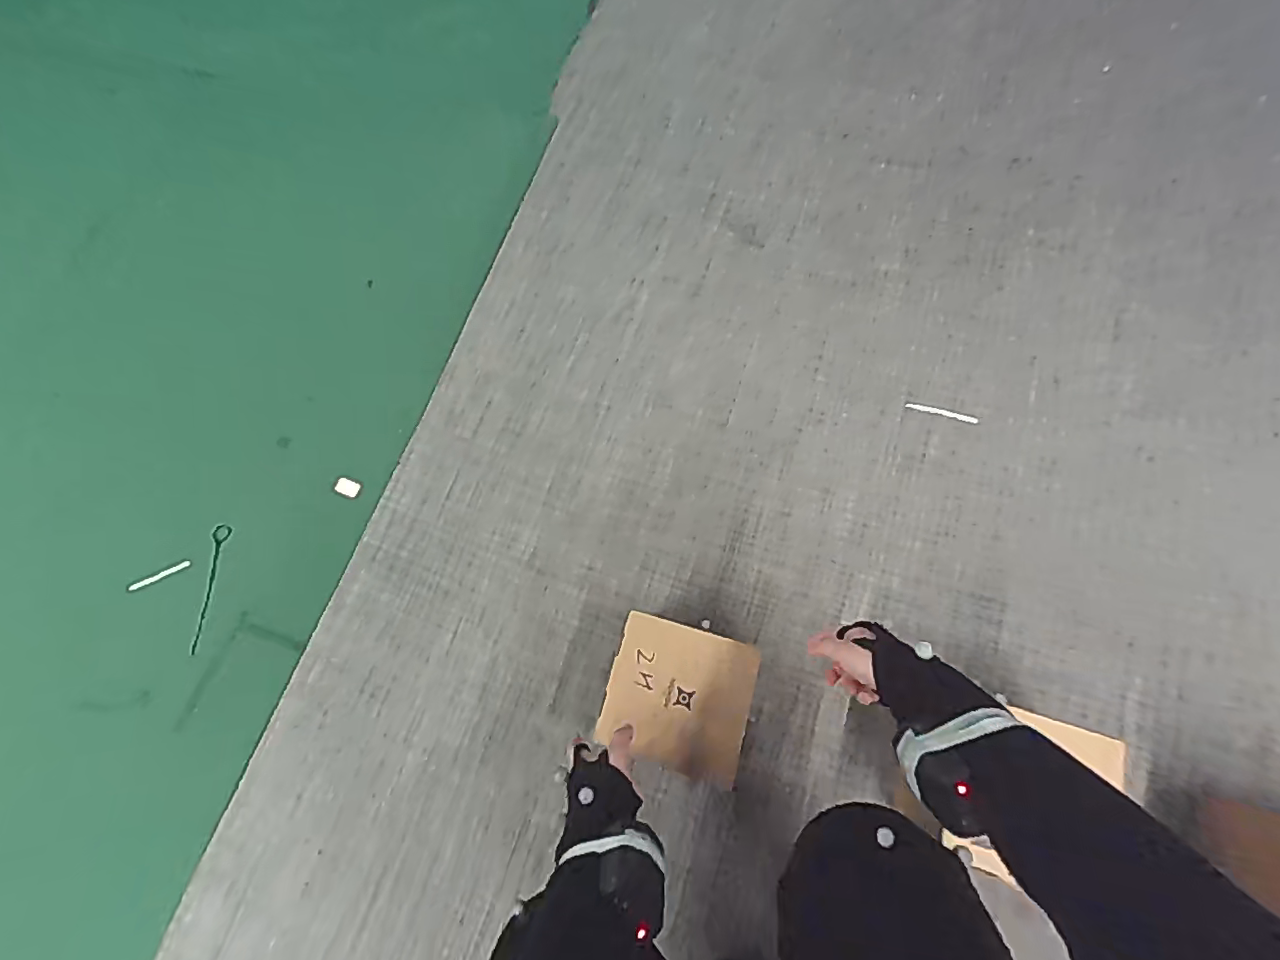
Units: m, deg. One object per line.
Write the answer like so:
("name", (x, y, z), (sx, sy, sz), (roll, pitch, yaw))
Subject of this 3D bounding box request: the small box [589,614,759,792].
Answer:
("small box", (0.053, 0.290, 0.739), (0.179, 0.176, 0.168), (14, 75, 12))

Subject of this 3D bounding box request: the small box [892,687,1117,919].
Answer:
("small box", (0.425, 0.368, 0.659), (0.168, 0.176, 0.179), (15, 75, 13))
